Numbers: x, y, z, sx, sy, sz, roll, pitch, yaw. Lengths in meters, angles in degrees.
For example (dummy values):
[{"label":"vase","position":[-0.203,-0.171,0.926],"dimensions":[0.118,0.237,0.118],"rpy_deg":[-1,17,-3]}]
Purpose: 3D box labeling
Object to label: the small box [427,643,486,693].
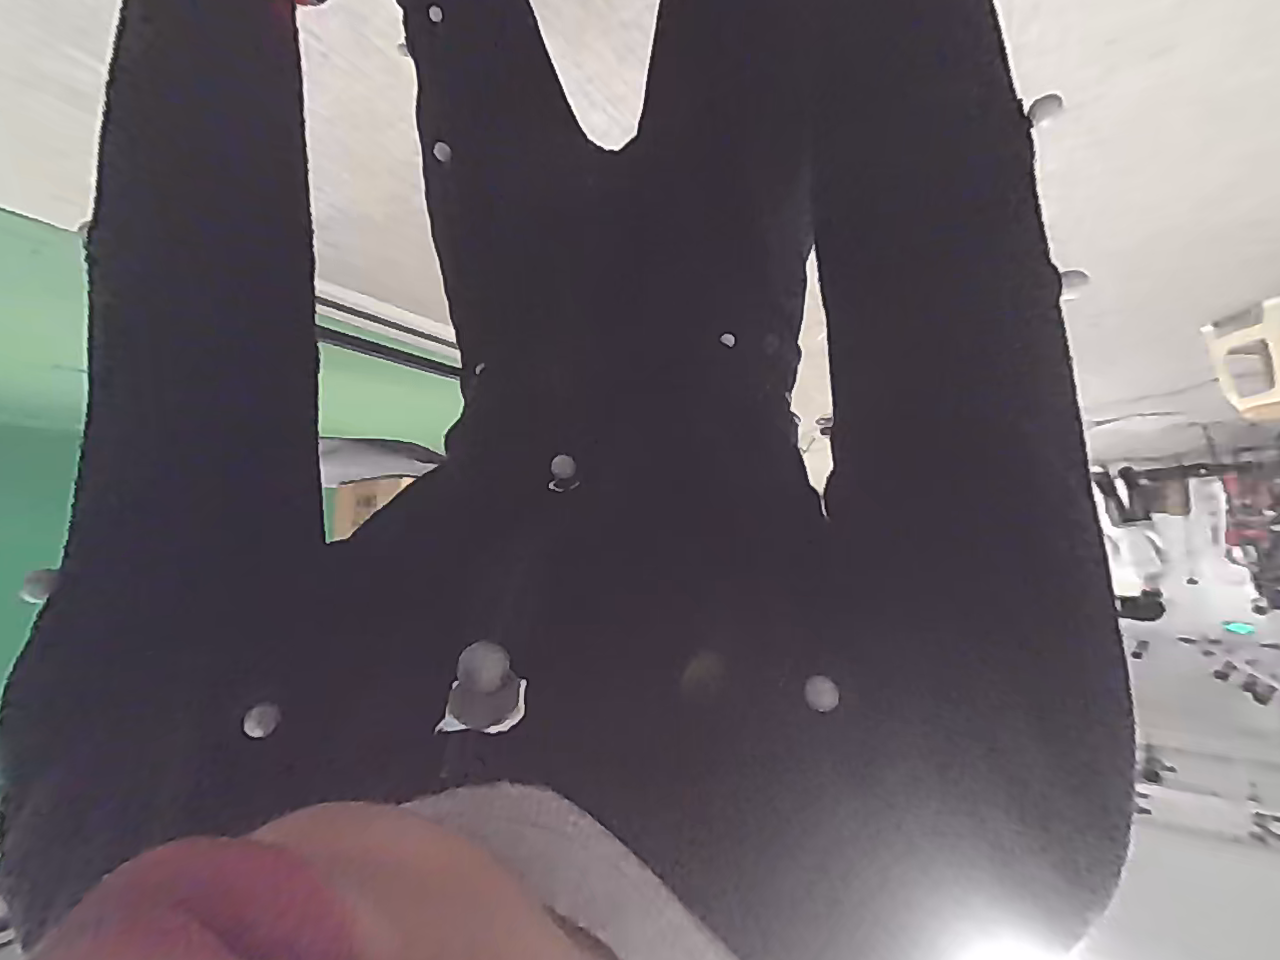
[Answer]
[{"label":"small box","position":[-0.766,0.774,2.240],"dimensions":[0.179,0.176,0.168],"rpy_deg":[-11,168,32]}]
